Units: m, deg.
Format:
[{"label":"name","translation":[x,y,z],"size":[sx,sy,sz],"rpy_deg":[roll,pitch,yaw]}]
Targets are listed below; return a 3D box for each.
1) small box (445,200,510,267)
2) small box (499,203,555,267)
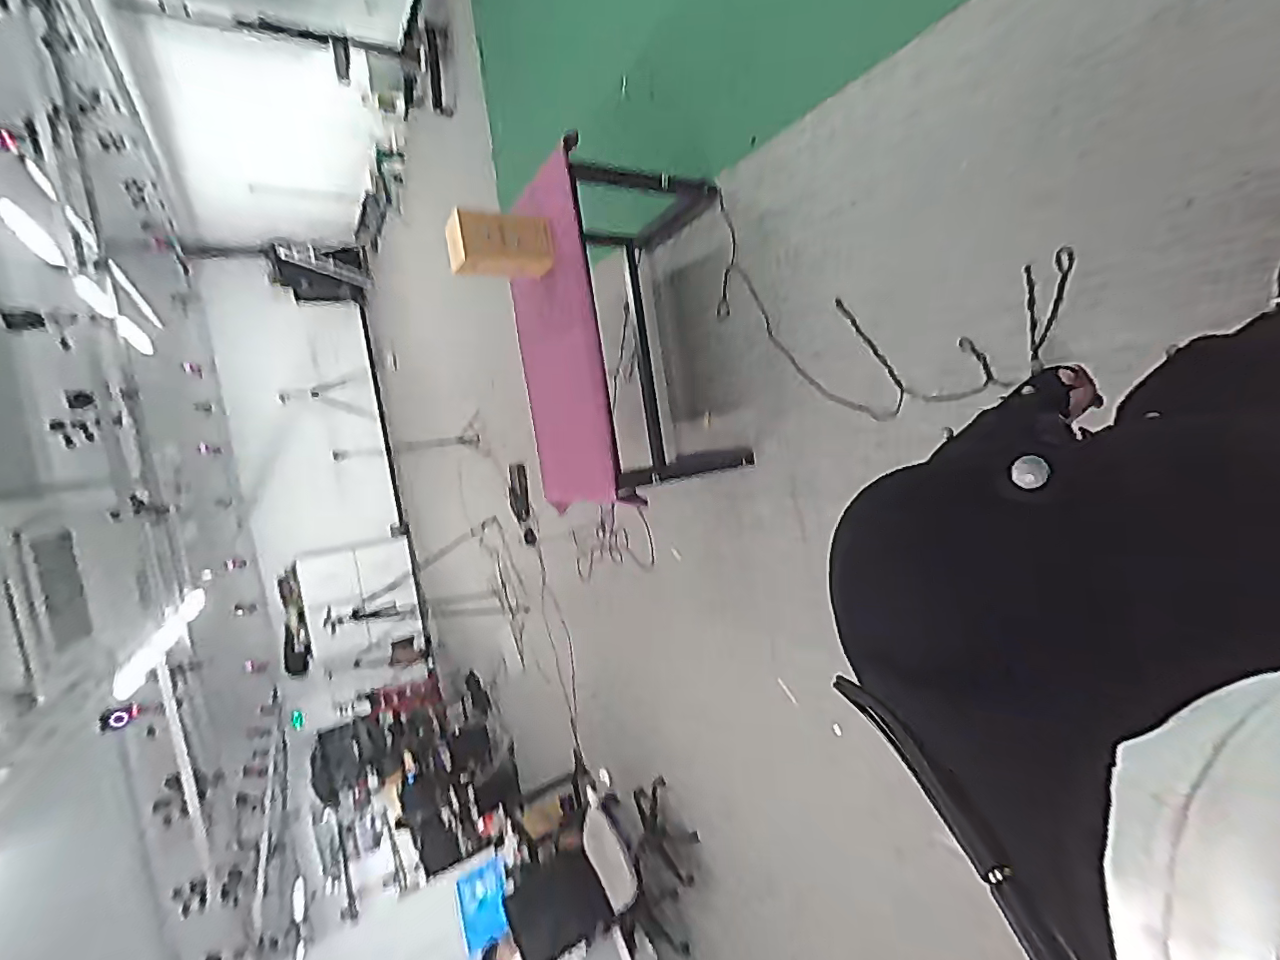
[{"label":"small box","translation":[-0.564,-0.858,1.893],"size":[0.179,0.176,0.168],"rpy_deg":[0,100,59]},{"label":"small box","translation":[-0.426,-0.888,1.978],"size":[0.179,0.176,0.168],"rpy_deg":[-2,100,59]}]
